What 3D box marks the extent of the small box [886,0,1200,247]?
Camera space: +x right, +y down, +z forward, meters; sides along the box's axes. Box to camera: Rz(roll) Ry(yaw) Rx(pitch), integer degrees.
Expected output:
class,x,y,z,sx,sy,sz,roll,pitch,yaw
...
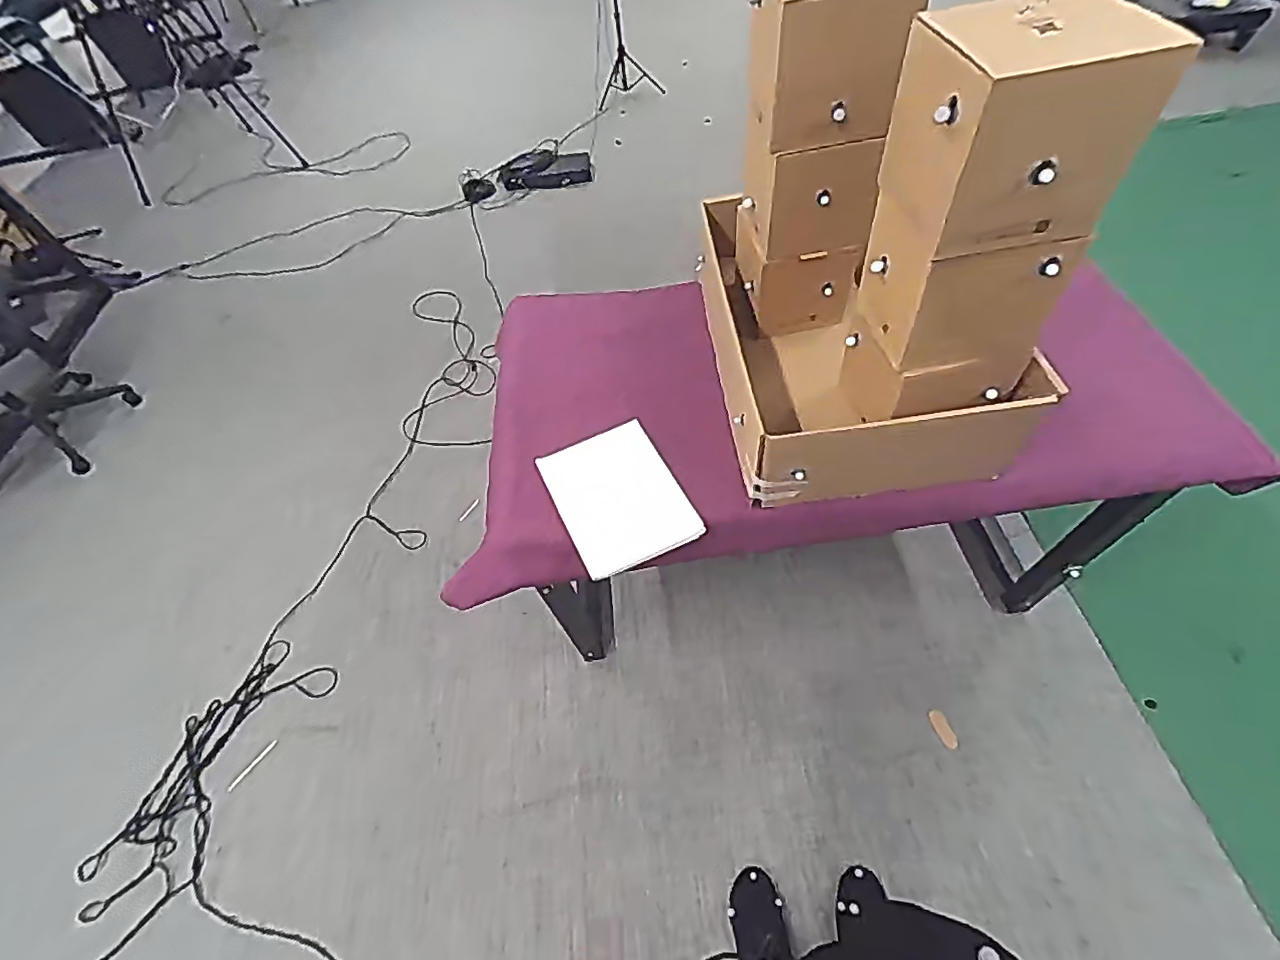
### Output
class,x,y,z,sx,sy,sz,roll,pitch,yaw
small box,0.376,-0.357,0.552,0.168,0.176,0.179,-7,53,3

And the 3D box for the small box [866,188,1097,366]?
class,x,y,z,sx,sy,sz,roll,pitch,yaw
small box,0.403,-0.263,0.684,0.179,0.176,0.168,-7,53,3

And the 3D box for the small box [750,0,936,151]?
class,x,y,z,sx,sy,sz,roll,pitch,yaw
small box,0.255,-0.573,0.724,0.179,0.176,0.168,-7,56,2

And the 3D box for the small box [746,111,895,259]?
class,x,y,z,sx,sy,sz,roll,pitch,yaw
small box,0.275,-0.480,0.857,0.179,0.176,0.168,-10,56,1
